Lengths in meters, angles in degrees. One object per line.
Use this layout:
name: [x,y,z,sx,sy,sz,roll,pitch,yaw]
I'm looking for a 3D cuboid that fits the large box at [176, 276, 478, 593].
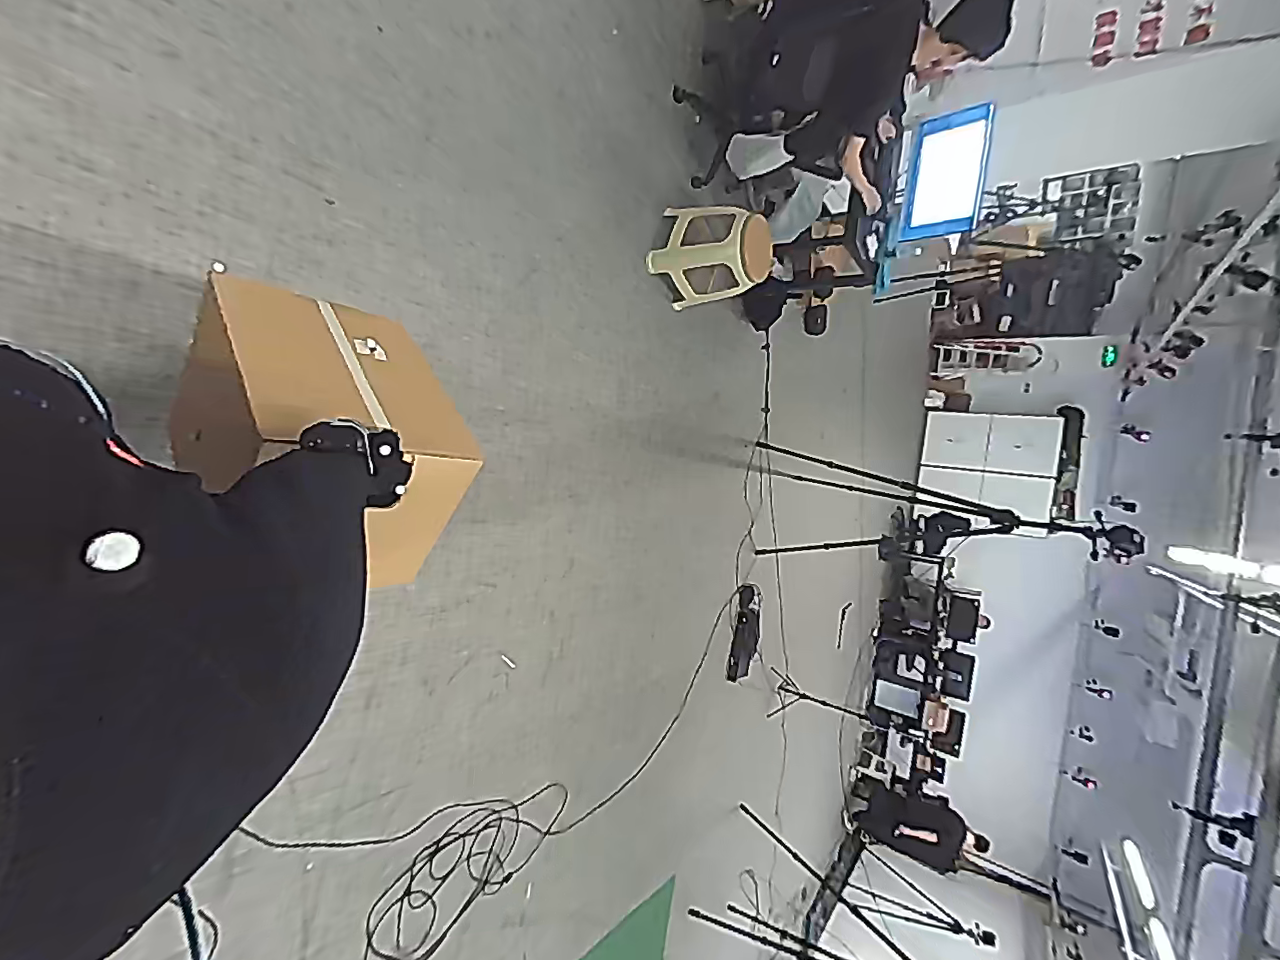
large box: [-0.550,-0.070,0.928,0.320,0.408,0.320,6,129,-51]
